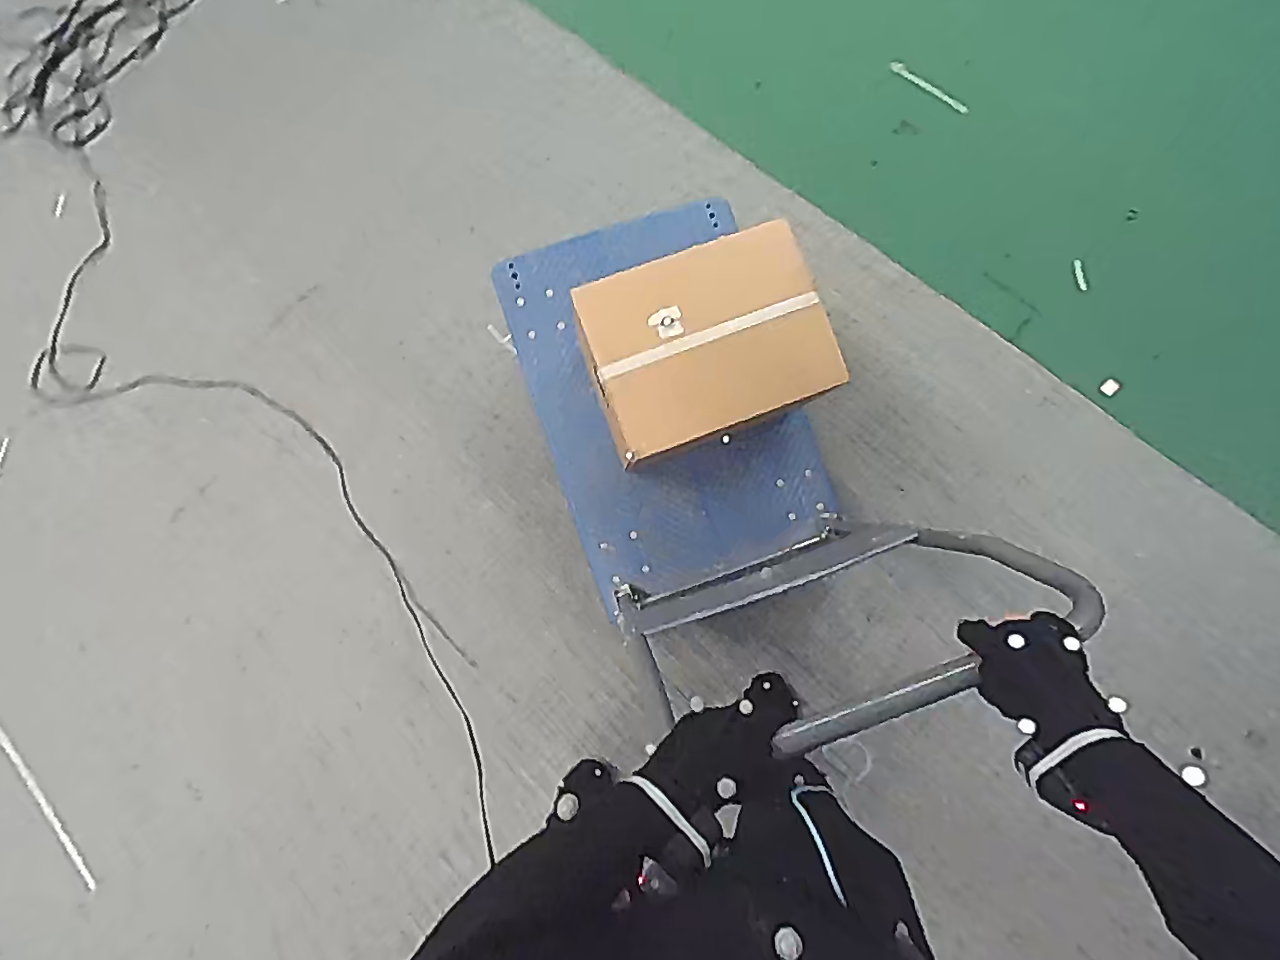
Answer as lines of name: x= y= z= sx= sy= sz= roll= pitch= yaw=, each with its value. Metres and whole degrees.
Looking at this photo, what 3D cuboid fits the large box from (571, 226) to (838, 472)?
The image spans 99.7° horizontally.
large box: x=0.110 y=-0.234 z=1.095 sx=0.408 sy=0.320 sz=0.320 roll=-21 pitch=88 yaw=-3
